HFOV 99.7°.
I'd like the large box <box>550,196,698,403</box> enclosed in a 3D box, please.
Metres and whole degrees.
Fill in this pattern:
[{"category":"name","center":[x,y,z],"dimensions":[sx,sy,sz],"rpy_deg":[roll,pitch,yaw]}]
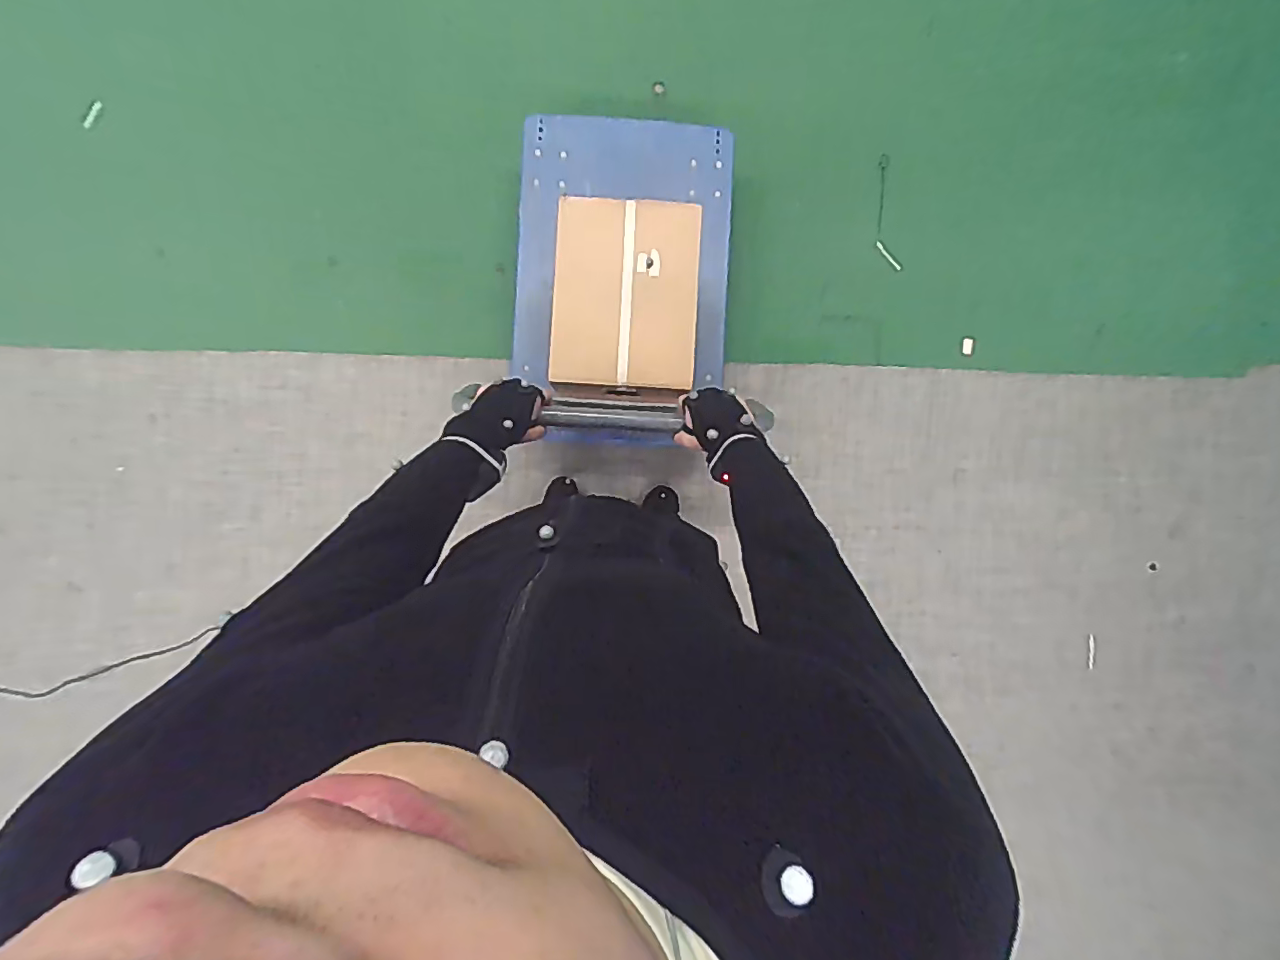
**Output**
[{"category":"large box","center":[-0.036,-0.410,1.320],"dimensions":[0.320,0.320,0.408],"rpy_deg":[3,90,-2]}]
